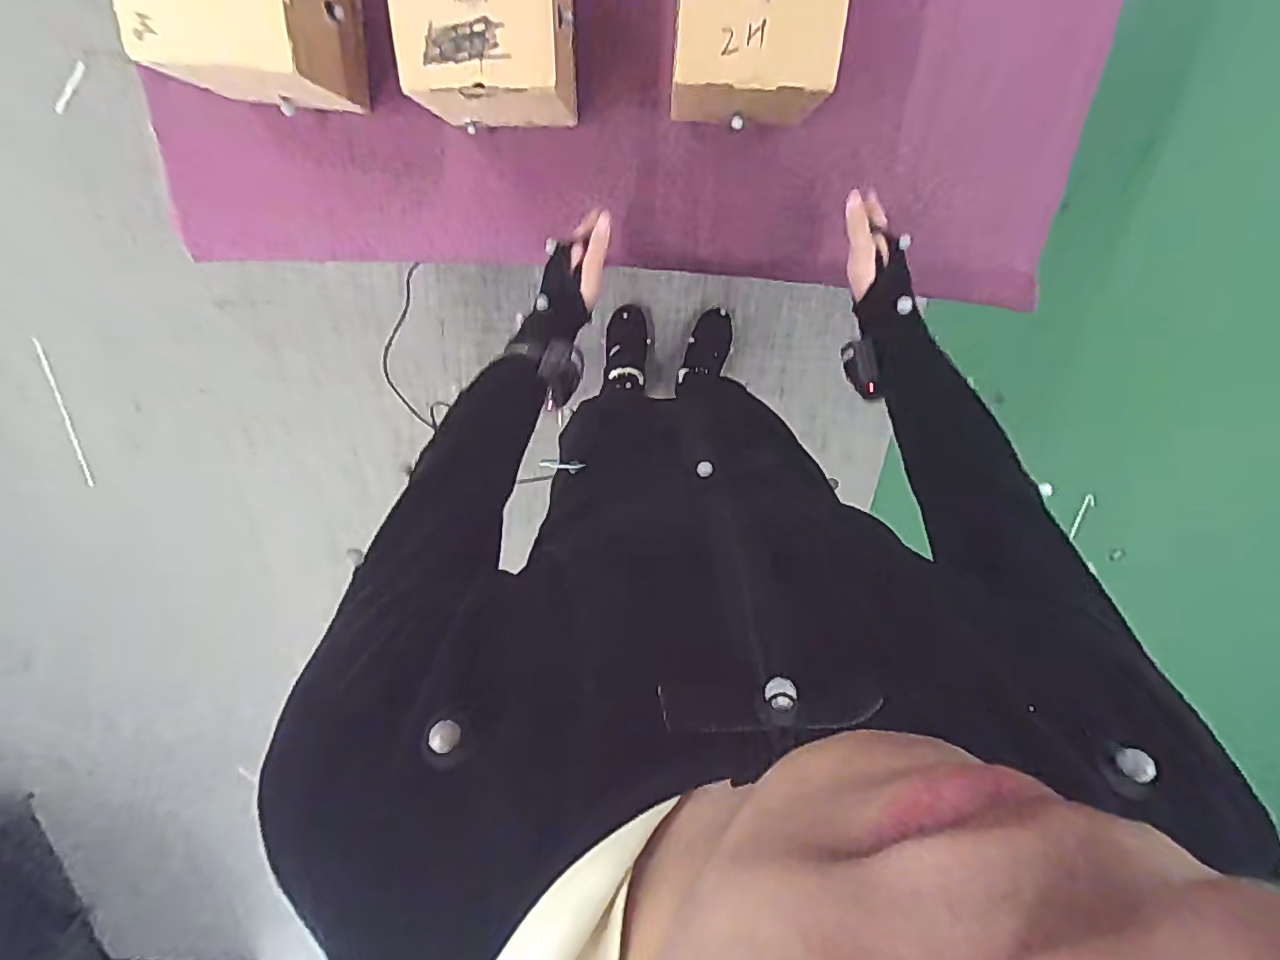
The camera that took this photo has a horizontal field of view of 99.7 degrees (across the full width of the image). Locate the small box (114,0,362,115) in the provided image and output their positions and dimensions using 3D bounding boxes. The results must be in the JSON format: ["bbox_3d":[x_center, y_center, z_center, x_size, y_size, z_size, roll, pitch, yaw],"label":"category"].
[{"bbox_3d":[-0.430,-0.523,0.598,0.179,0.176,0.168,4,112,-2],"label":"small box"}]

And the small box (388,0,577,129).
[{"bbox_3d":[-0.163,-0.505,0.600,0.168,0.176,0.179,0,112,1],"label":"small box"}]

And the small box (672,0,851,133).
[{"bbox_3d":[0.125,-0.506,0.594,0.168,0.176,0.179,3,113,1],"label":"small box"}]
